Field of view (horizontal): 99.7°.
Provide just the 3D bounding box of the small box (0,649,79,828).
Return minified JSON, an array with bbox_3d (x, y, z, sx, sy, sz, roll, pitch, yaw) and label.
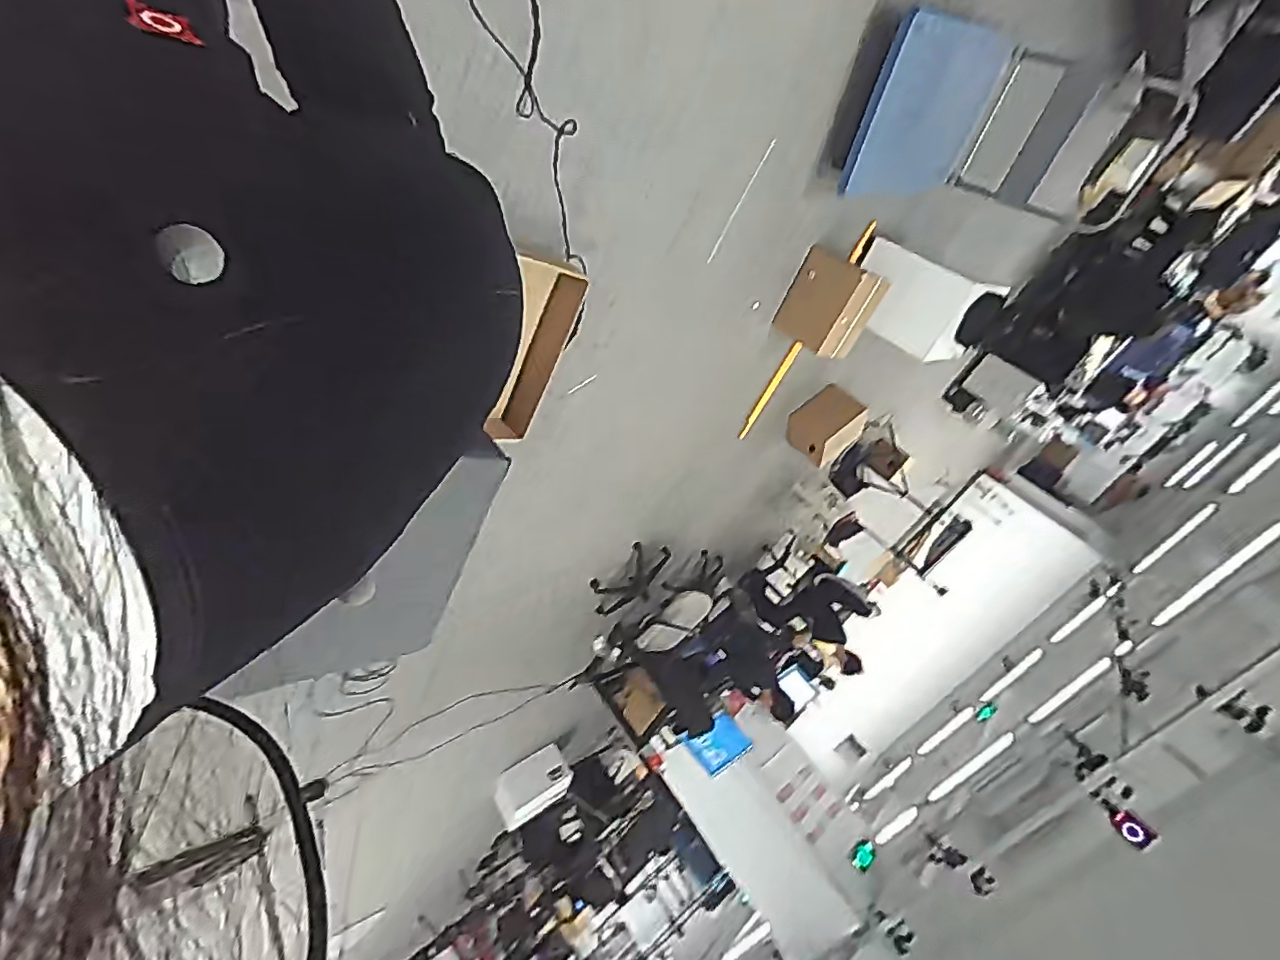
[{"bbox_3d":[-0.869,0.343,0.705,0.168,0.176,0.179,3,126,-52],"label":"small box"}]
